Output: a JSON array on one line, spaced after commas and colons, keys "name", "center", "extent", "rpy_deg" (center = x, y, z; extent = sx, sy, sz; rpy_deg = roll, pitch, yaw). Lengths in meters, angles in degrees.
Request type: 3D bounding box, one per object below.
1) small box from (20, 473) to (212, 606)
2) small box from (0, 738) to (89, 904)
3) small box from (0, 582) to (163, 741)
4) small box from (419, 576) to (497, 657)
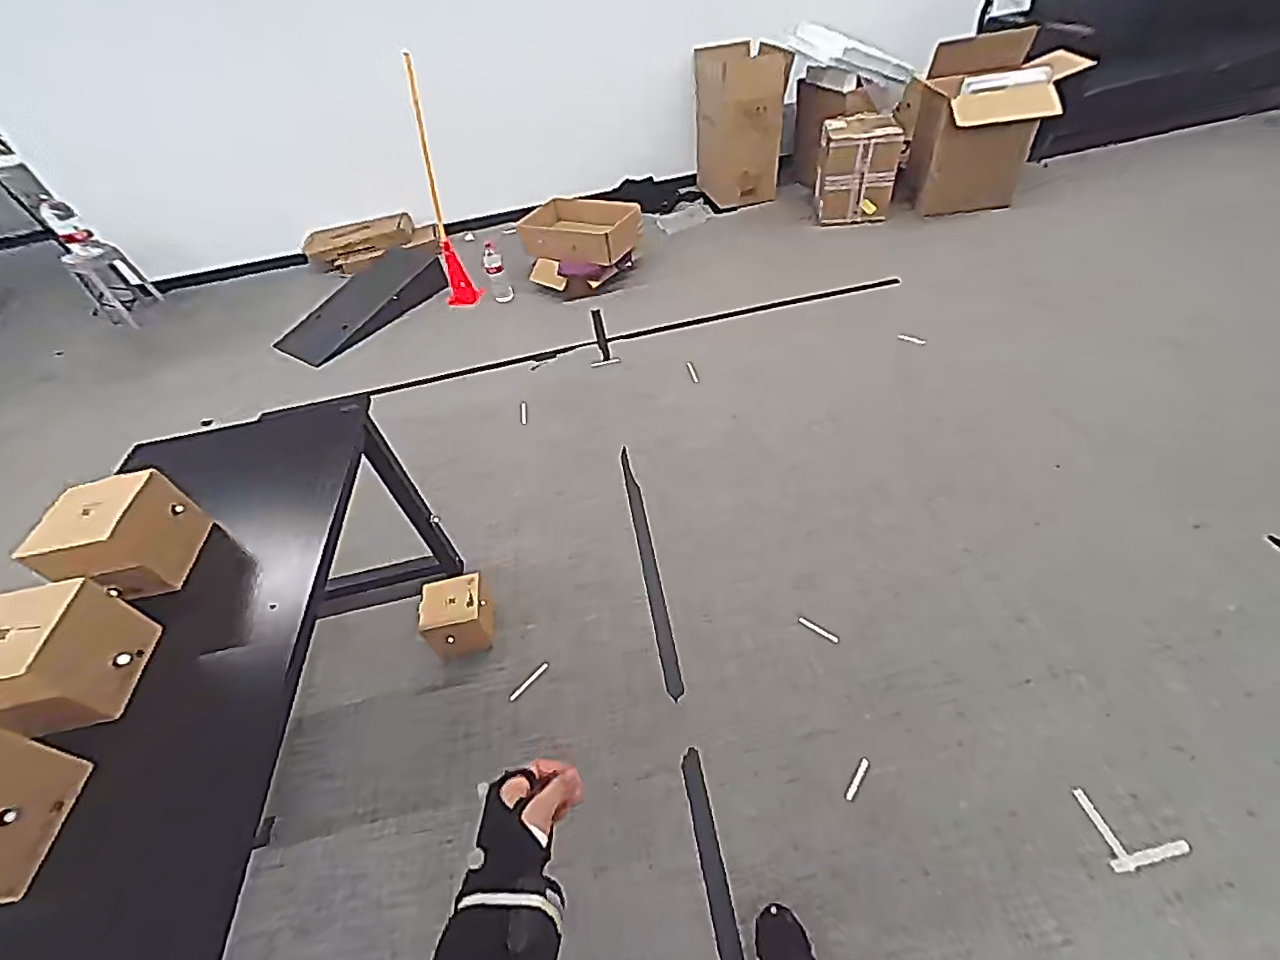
[{"name": "small box", "center": [-0.972, 0.118, 1.030], "extent": [0.168, 0.176, 0.179], "rpy_deg": [-14, 46, -1]}, {"name": "small box", "center": [-0.898, 0.447, 0.698], "extent": [0.179, 0.176, 0.168], "rpy_deg": [-10, 45, 1]}, {"name": "small box", "center": [-0.931, 0.290, 0.855], "extent": [0.179, 0.176, 0.168], "rpy_deg": [-12, 46, -2]}, {"name": "small box", "center": [-0.558, 0.427, 1.674], "extent": [0.179, 0.176, 0.168], "rpy_deg": [-13, 47, -2]}]
